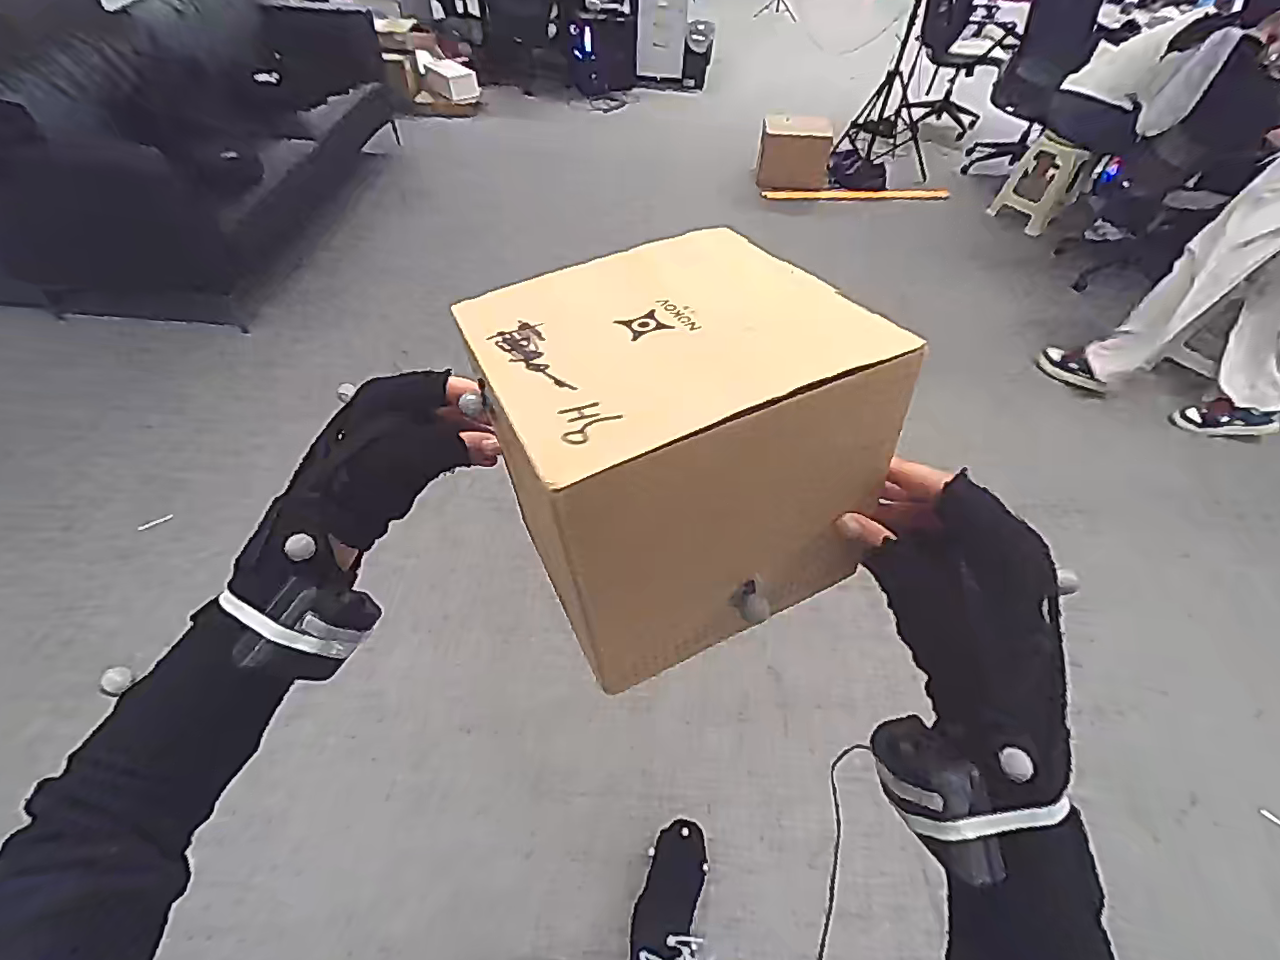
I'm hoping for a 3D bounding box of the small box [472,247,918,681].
[{"bbox_3d":[0.021,-0.015,0.330,0.179,0.176,0.168,-22,45,-17],"label":"small box"}]
